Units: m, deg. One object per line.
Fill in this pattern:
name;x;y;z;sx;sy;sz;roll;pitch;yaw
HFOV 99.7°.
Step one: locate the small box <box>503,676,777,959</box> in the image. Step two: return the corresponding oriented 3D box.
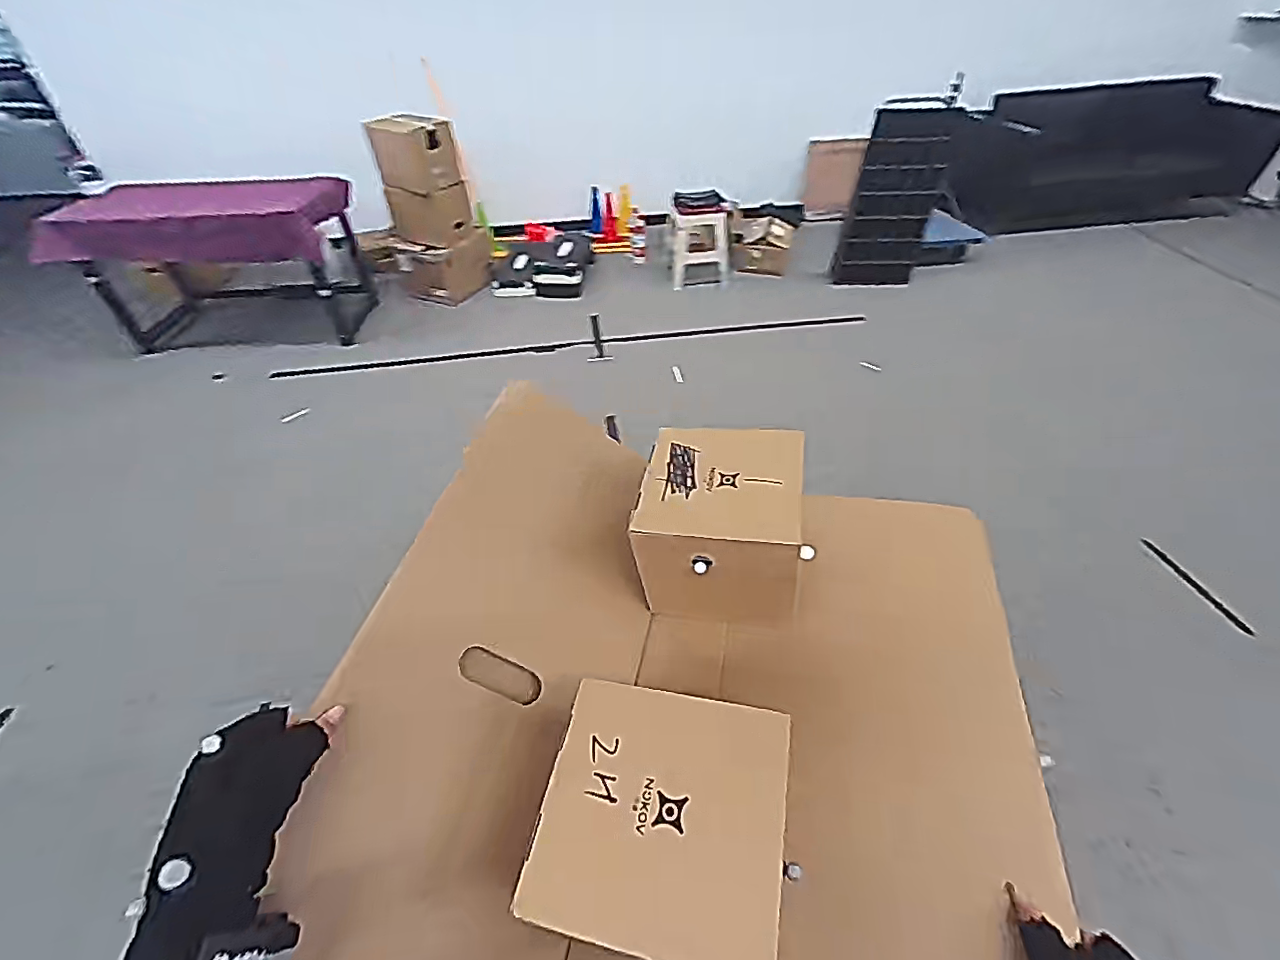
small box;0.019;0.291;0.457;0.179;0.176;0.168;3;48;17
